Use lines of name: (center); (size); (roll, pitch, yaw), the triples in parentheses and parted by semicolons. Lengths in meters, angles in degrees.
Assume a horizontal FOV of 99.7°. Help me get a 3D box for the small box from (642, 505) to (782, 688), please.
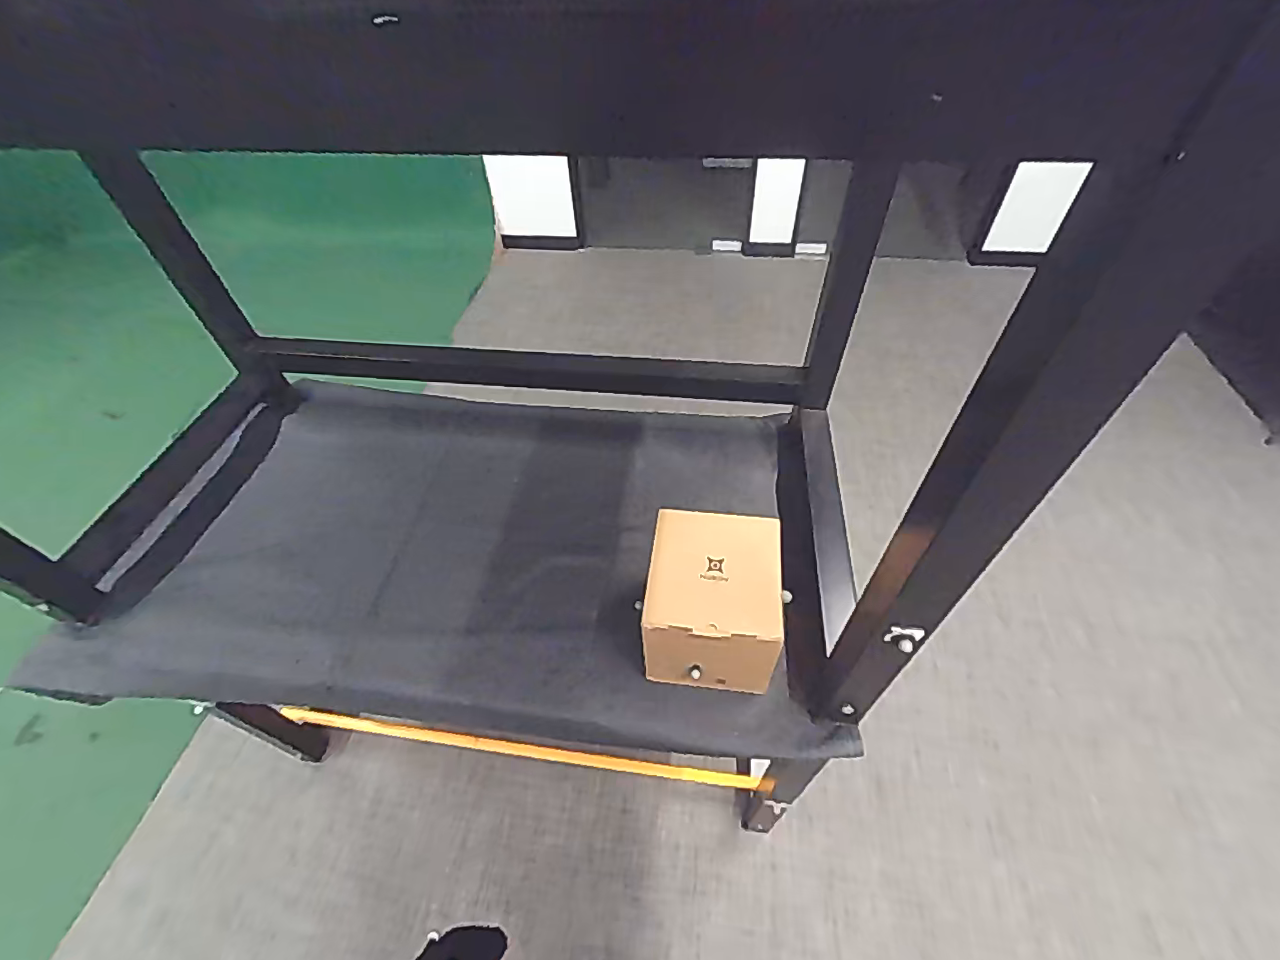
small box: (0.096, 0.158, 0.738); (0.168, 0.176, 0.179); (4, 49, 7)
